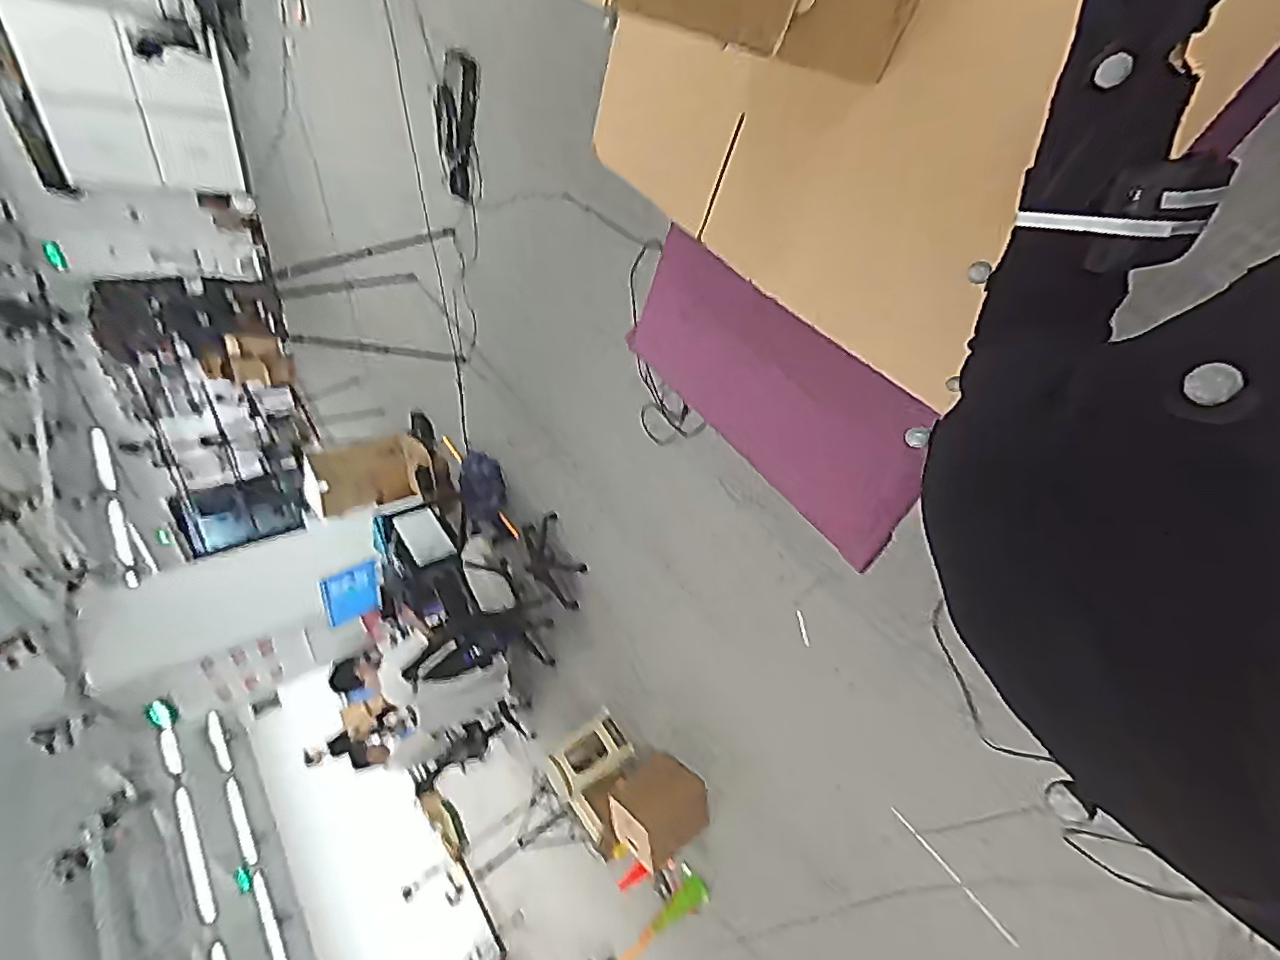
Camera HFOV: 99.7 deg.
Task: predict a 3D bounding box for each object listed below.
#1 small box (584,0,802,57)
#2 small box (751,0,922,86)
[{"bbox_3d":[0.022,-0.427,0.376,0.179,0.176,0.168,48,139,28],"label":"small box"},{"bbox_3d":[0.145,-0.475,0.473,0.179,0.176,0.168,50,140,26],"label":"small box"}]
